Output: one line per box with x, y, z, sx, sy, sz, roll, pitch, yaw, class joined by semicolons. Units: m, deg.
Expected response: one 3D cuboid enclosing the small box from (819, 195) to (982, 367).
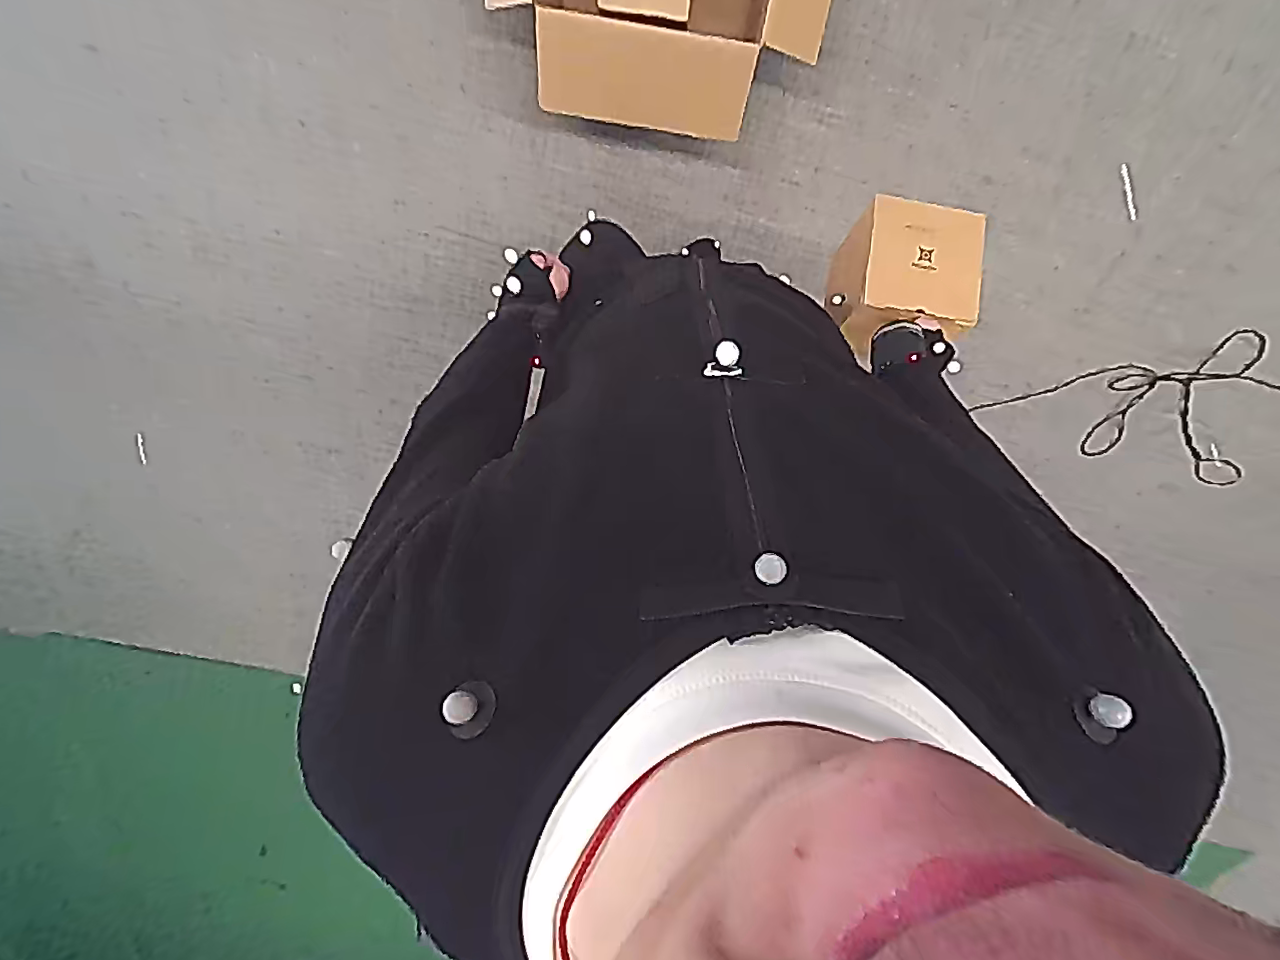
0.392;-0.296;0.838;0.168;0.176;0.179;11;78;-2;small box
